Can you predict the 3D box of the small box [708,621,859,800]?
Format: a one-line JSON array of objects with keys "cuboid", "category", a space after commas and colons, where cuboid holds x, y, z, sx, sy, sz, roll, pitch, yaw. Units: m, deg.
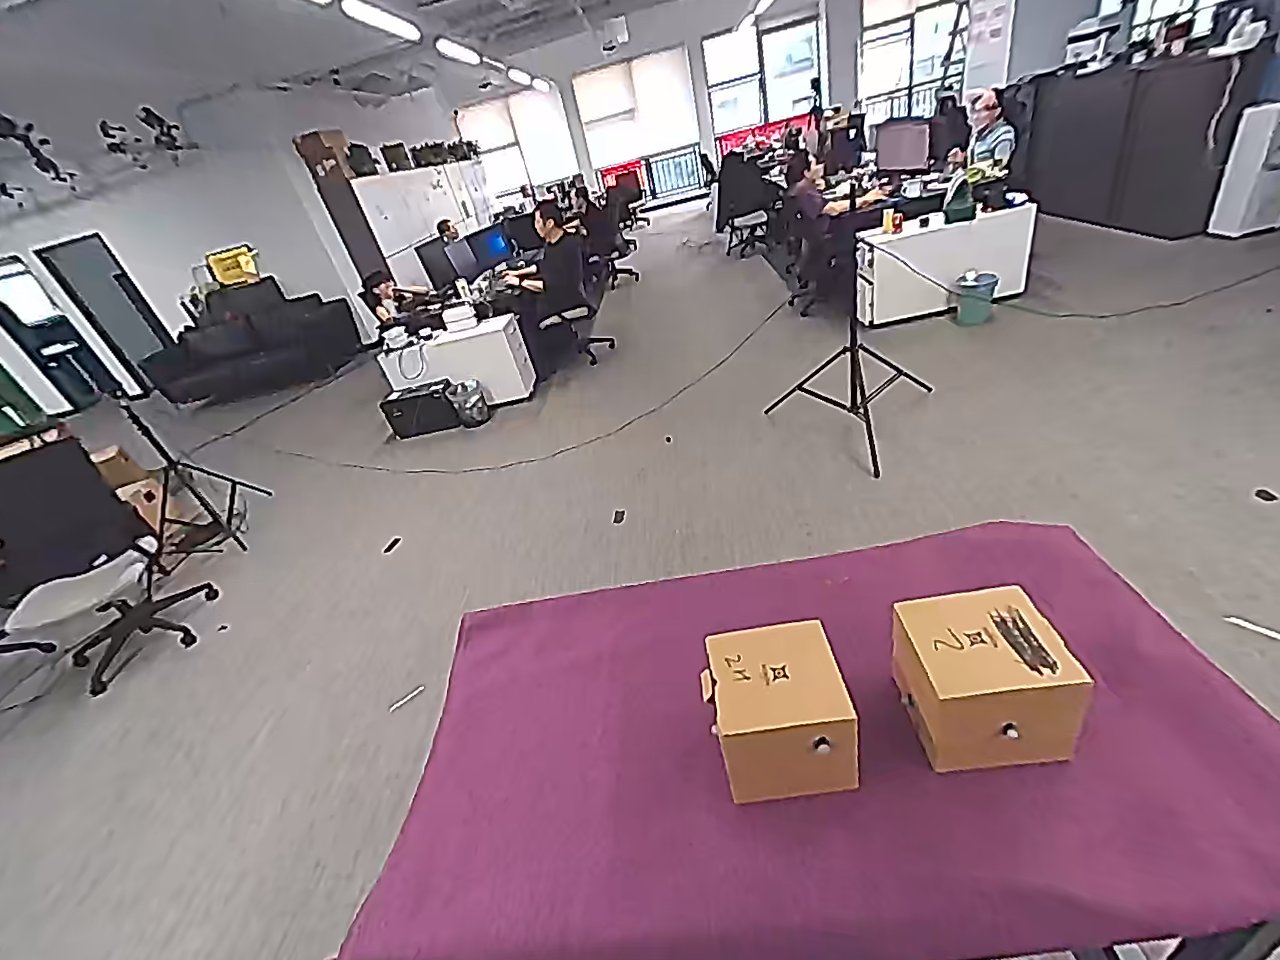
[{"cuboid": [0.204, 0.335, 0.788, 0.179, 0.176, 0.168, -12, 31, 7], "category": "small box"}]
